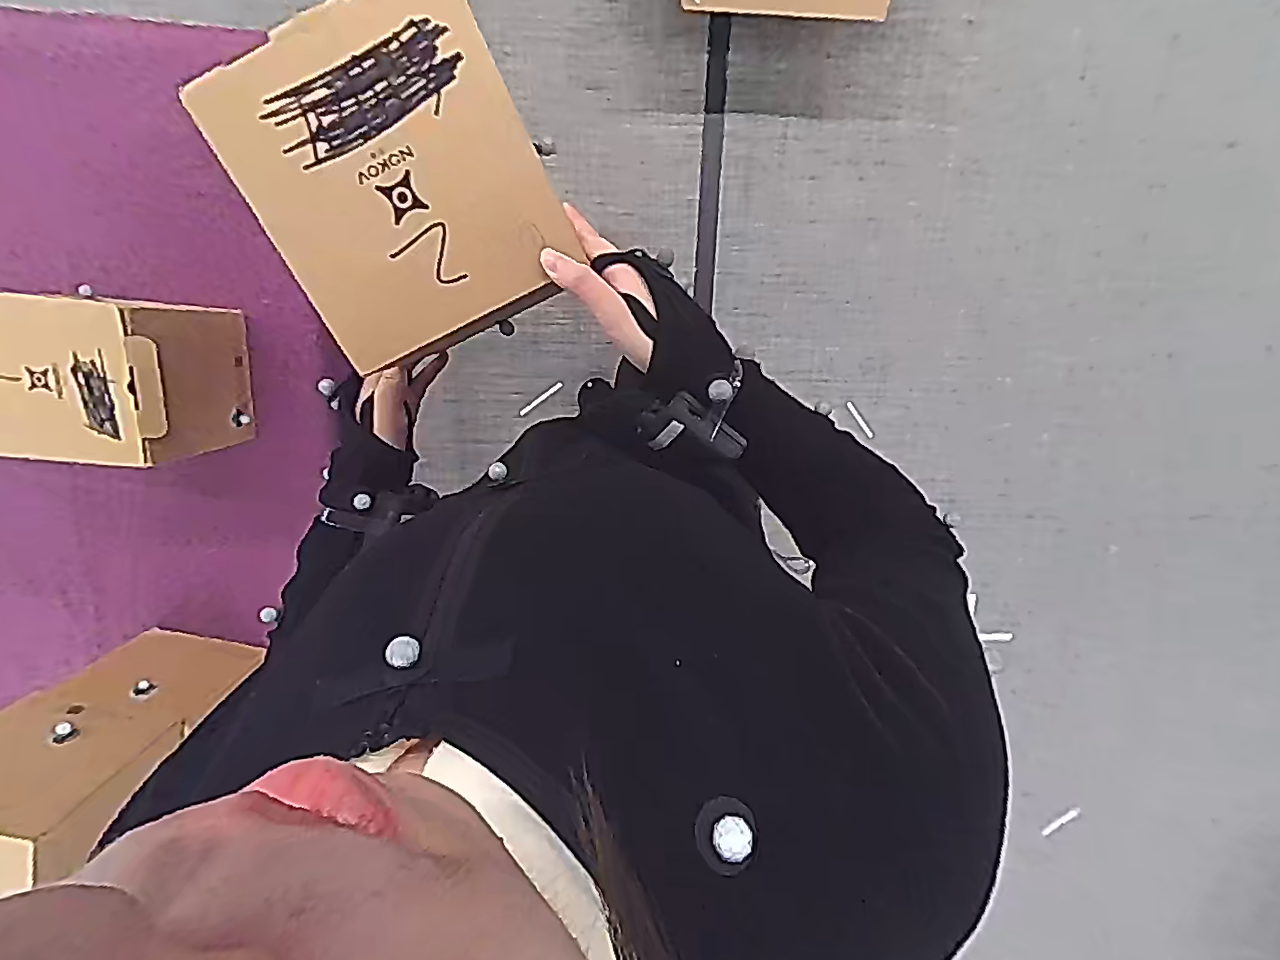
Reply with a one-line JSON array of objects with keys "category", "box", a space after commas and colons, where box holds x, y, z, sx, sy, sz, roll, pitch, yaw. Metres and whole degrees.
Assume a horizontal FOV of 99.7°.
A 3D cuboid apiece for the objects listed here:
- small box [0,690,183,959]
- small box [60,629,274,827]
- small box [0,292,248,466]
[{"category": "small box", "box": [-0.637, 0.361, 0.578, 0.168, 0.176, 0.179, 13, 103, -5]}, {"category": "small box", "box": [-0.638, 0.325, 0.738, 0.179, 0.176, 0.168, 13, 104, -4]}, {"category": "small box", "box": [-0.586, -0.121, 0.617, 0.179, 0.176, 0.168, 5, 105, -1]}]
